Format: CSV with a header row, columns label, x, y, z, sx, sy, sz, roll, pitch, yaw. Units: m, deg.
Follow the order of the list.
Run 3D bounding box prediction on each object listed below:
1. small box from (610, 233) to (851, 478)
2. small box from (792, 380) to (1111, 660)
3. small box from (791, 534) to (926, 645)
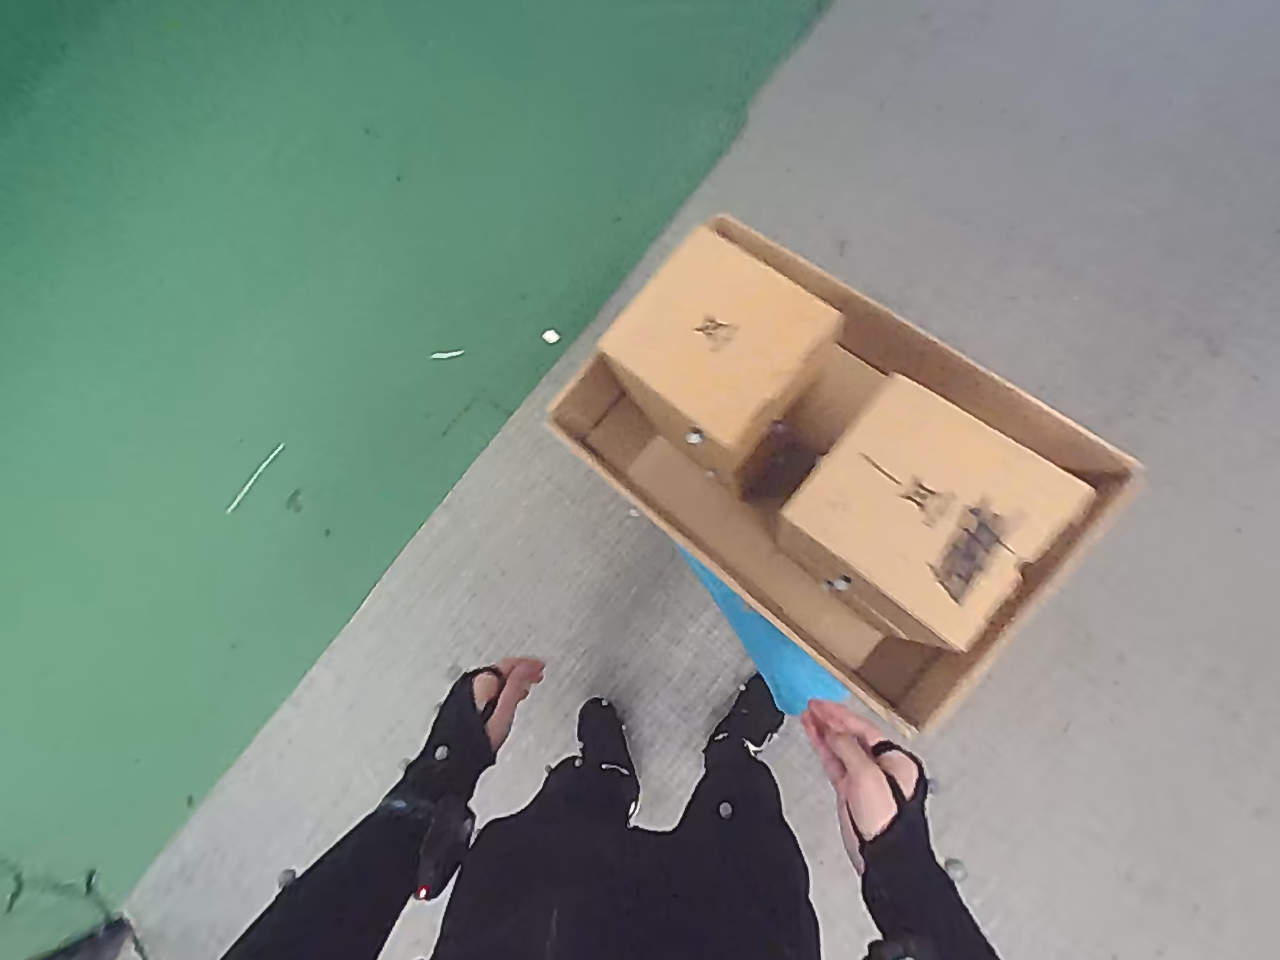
label,x,y,z,sx,sy,sz,roll,pitch,yaw
small box,0.098,-0.123,0.600,0.179,0.176,0.168,40,89,17
small box,0.265,0.042,0.511,0.179,0.176,0.168,39,88,21
small box,0.305,0.082,0.665,0.179,0.176,0.168,41,89,21
